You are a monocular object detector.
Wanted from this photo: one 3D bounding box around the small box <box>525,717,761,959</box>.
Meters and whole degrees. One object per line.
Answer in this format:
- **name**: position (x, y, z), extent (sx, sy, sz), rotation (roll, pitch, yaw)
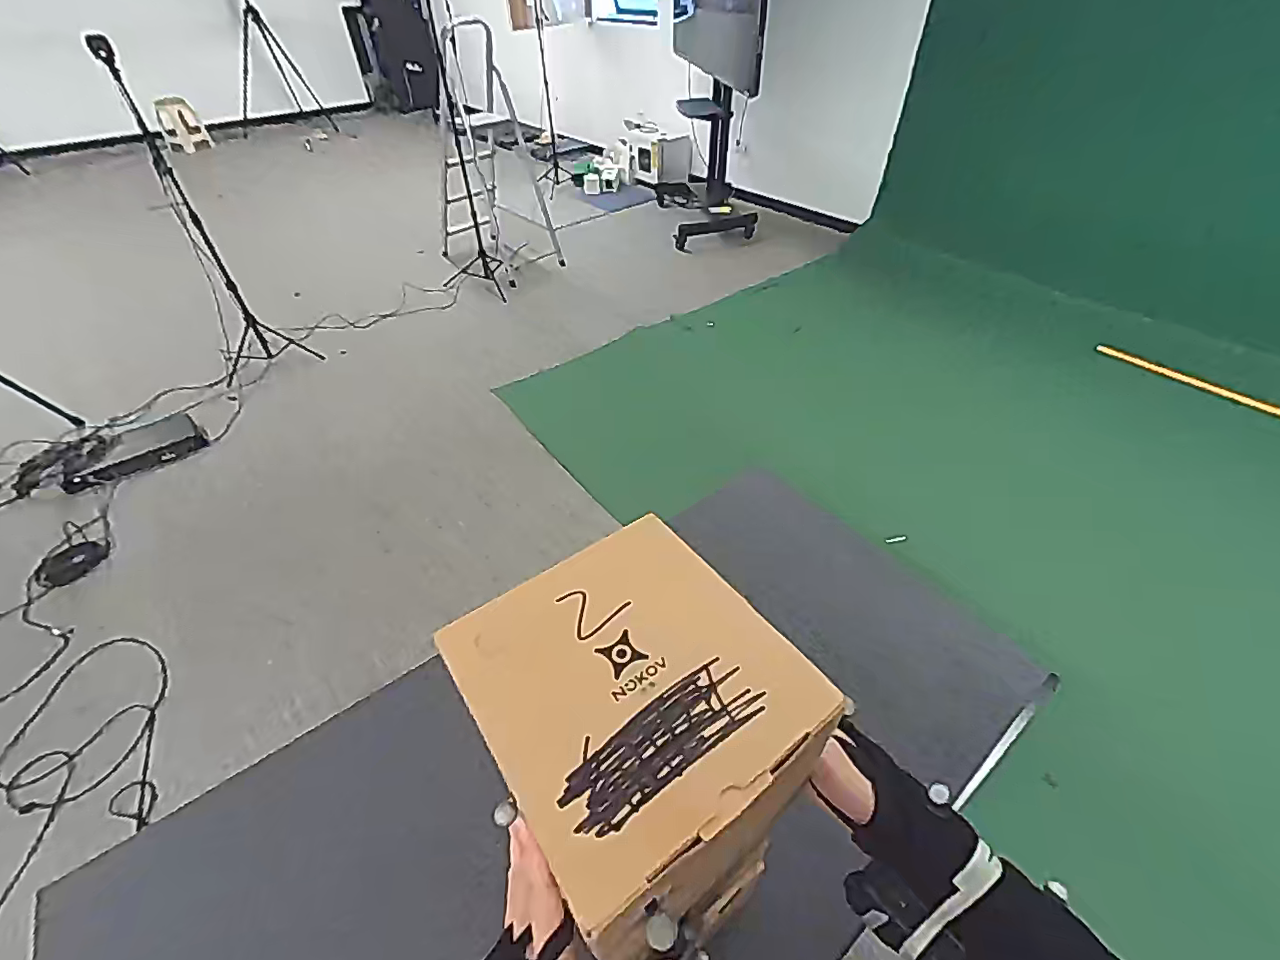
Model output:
- **small box**: position (0.000, 0.401, 0.573), extent (0.168, 0.176, 0.179), rotation (-28, 49, -25)
